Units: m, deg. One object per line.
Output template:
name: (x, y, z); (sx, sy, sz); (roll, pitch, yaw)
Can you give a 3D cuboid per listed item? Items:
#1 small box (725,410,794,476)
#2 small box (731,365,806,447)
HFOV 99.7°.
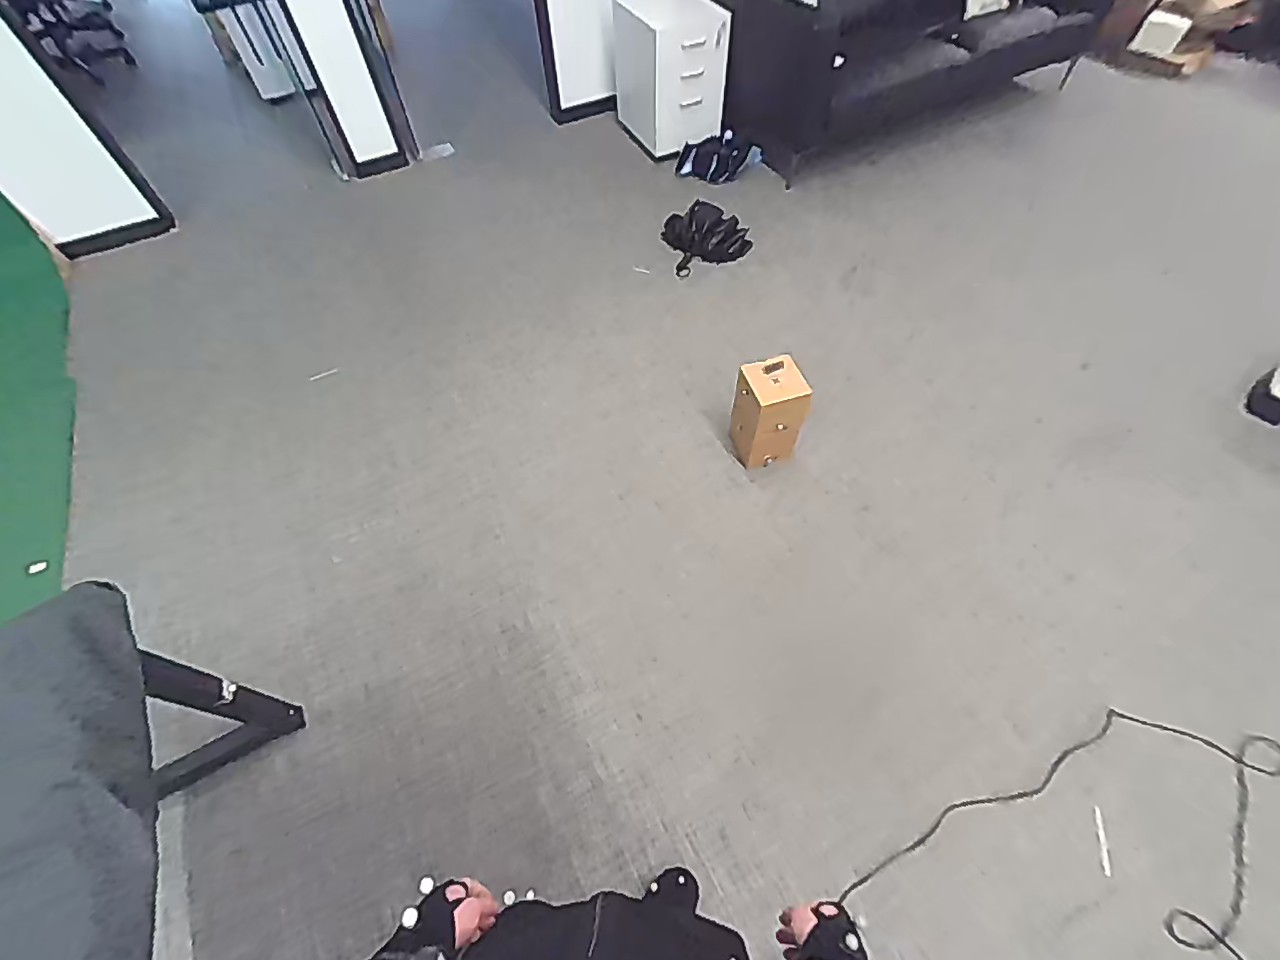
small box: (0.401, -0.141, 1.858); (0.168, 0.176, 0.179); (-16, 58, -8)
small box: (0.399, -0.233, 1.722); (0.168, 0.176, 0.179); (-15, 58, -7)
